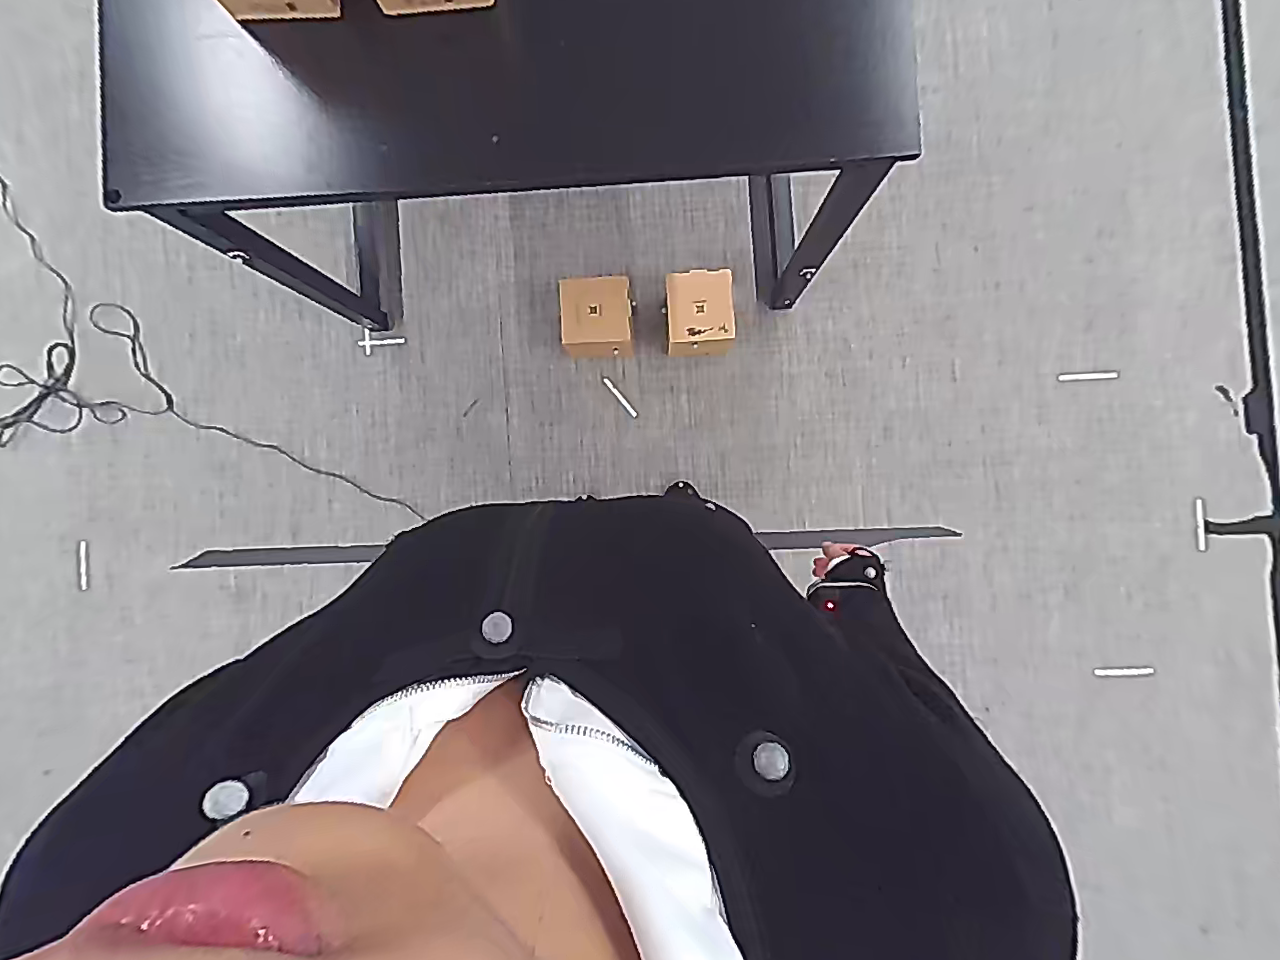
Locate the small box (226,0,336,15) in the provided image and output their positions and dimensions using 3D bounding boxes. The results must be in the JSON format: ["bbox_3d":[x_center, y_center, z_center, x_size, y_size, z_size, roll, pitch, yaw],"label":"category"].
[{"bbox_3d":[-0.528,-0.773,0.725,0.168,0.176,0.179,0,89,2],"label":"small box"}]

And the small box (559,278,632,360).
[{"bbox_3d":[-0.111,-0.422,1.437,0.179,0.176,0.168,-3,88,3],"label":"small box"}]

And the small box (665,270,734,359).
[{"bbox_3d":[0.151,-0.430,1.424,0.168,0.176,0.179,-4,89,3],"label":"small box"}]

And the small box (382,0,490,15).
[{"bbox_3d":[-0.304,-0.777,0.717,0.168,0.176,0.179,-4,90,2],"label":"small box"}]
